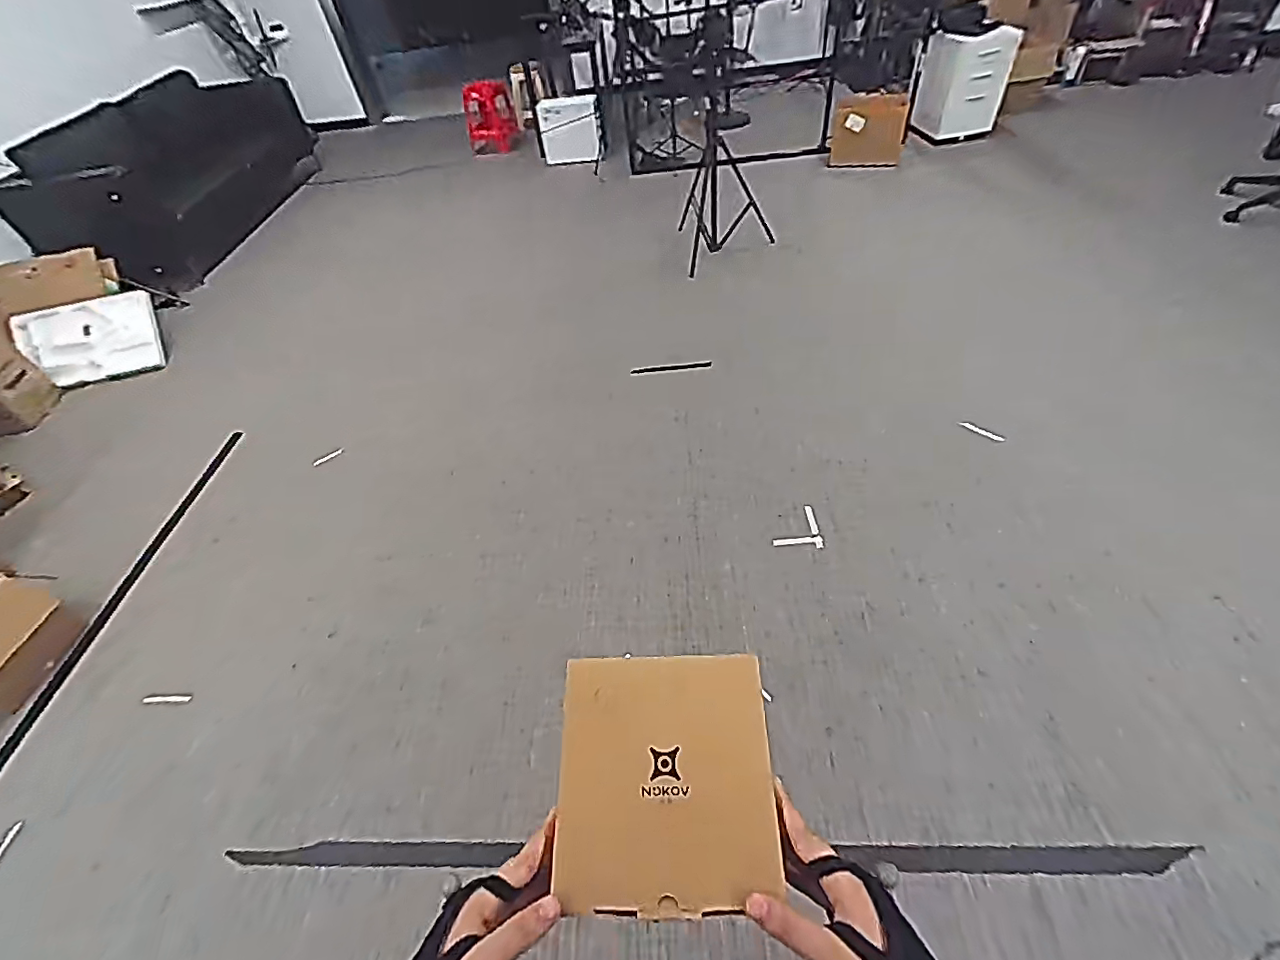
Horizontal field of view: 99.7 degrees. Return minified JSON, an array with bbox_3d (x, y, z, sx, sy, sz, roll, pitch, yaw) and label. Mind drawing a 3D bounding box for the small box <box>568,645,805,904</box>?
[{"bbox_3d":[0.035,0.259,0.480,0.168,0.176,0.179,-2,57,3],"label":"small box"}]
